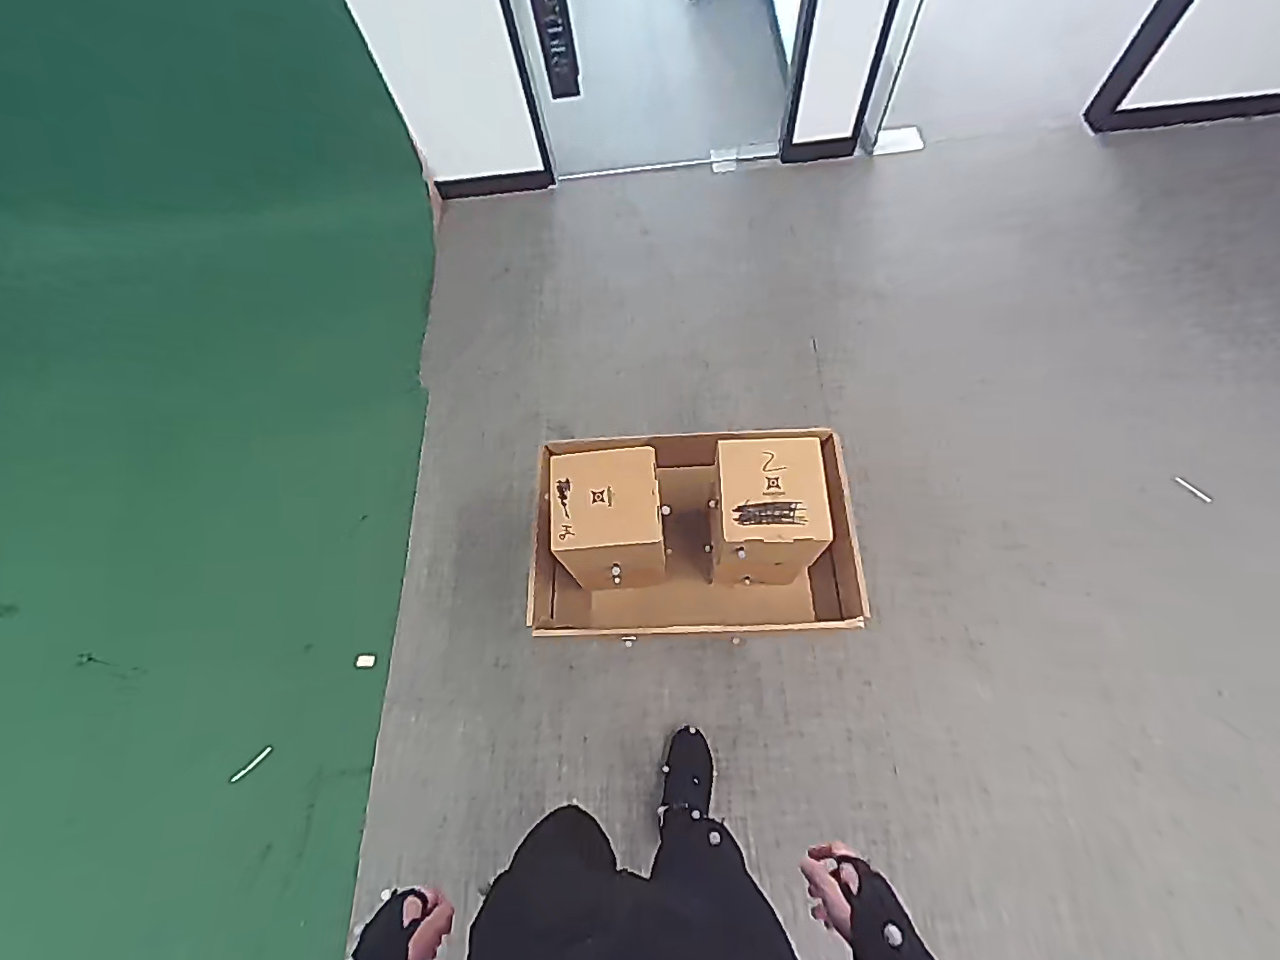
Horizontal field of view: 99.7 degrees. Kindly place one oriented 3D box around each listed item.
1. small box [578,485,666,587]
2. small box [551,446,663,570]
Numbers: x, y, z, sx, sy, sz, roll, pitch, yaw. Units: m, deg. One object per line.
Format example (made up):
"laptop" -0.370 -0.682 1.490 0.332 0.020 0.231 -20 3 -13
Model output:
"small box" -0.039 0.118 1.091 0.179 0.176 0.168 -3 67 2
"small box" -0.051 0.055 0.939 0.179 0.176 0.168 -5 67 2
